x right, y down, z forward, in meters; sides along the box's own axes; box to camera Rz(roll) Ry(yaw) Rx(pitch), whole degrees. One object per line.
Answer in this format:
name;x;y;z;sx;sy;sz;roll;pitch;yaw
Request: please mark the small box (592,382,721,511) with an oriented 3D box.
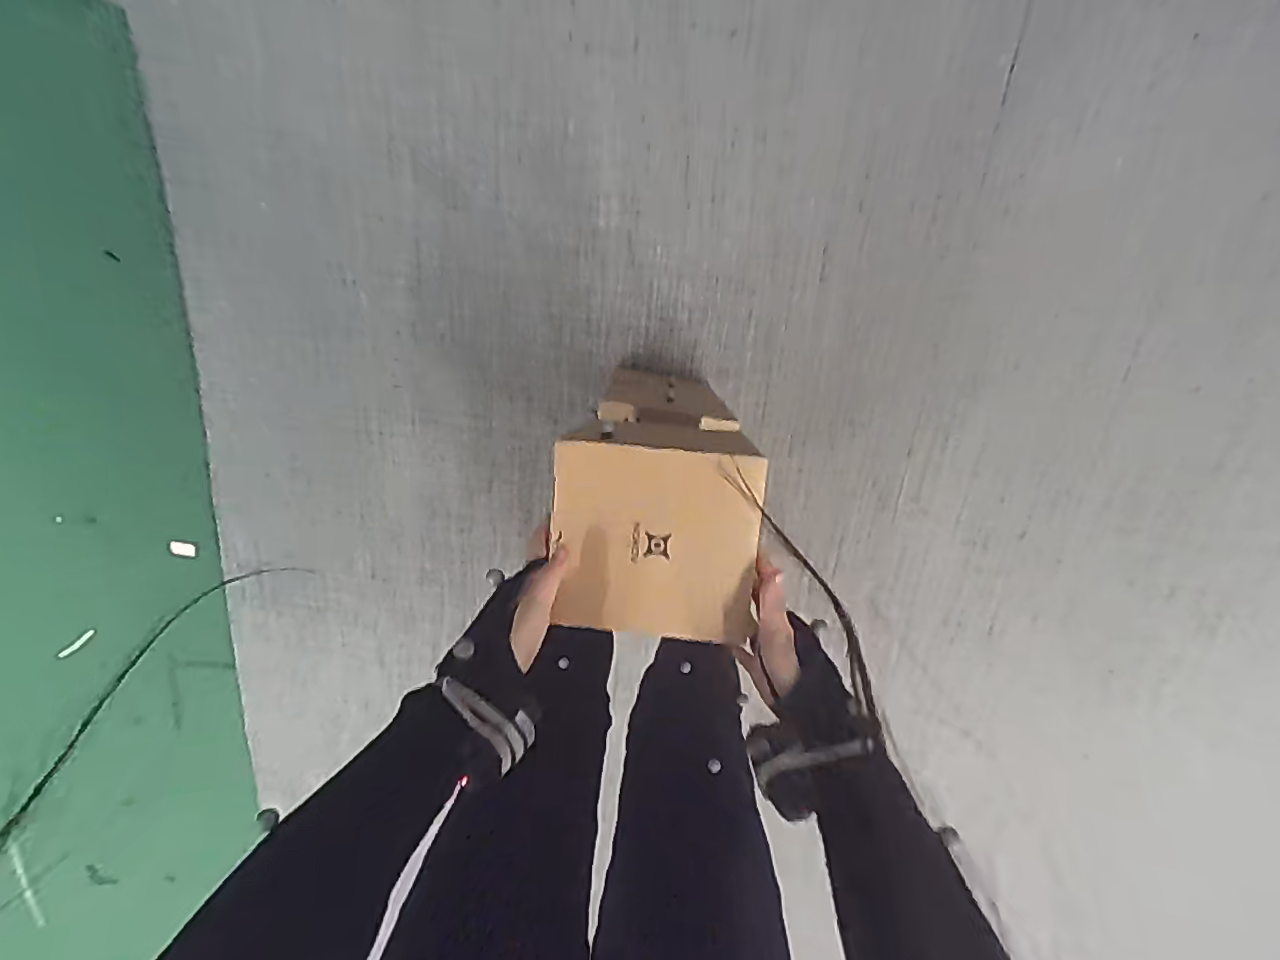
small box;0.025;-0.065;0.919;0.179;0.176;0.168;11;107;-2
